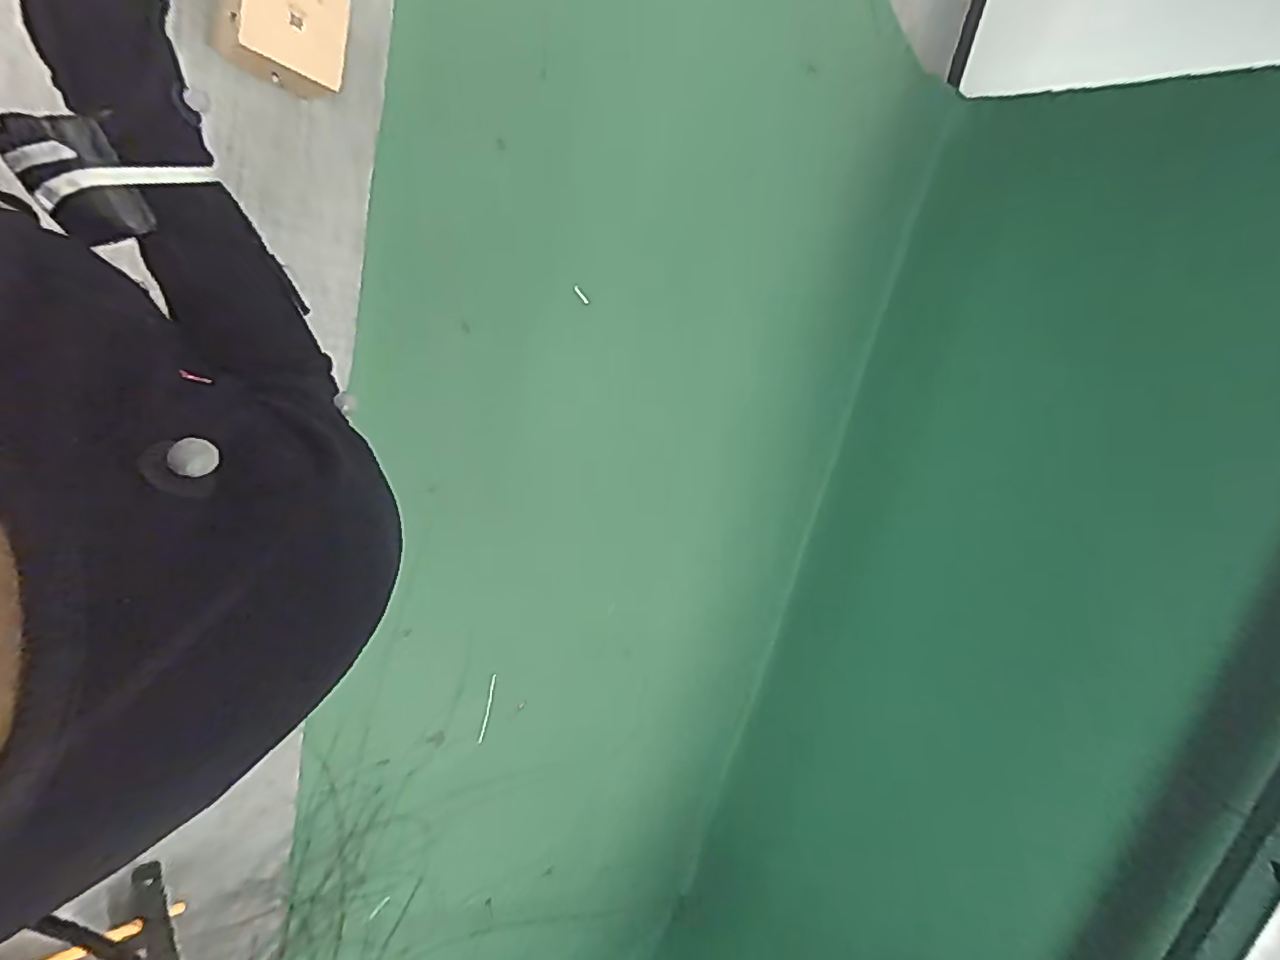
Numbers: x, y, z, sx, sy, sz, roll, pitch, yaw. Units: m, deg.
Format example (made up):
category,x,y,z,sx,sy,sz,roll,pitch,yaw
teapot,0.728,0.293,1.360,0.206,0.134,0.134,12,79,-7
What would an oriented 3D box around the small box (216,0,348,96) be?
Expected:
category,x,y,z,sx,sy,sz,roll,pitch,yaw
small box,-0.682,-0.865,1.025,0.168,0.176,0.179,0,109,-50
